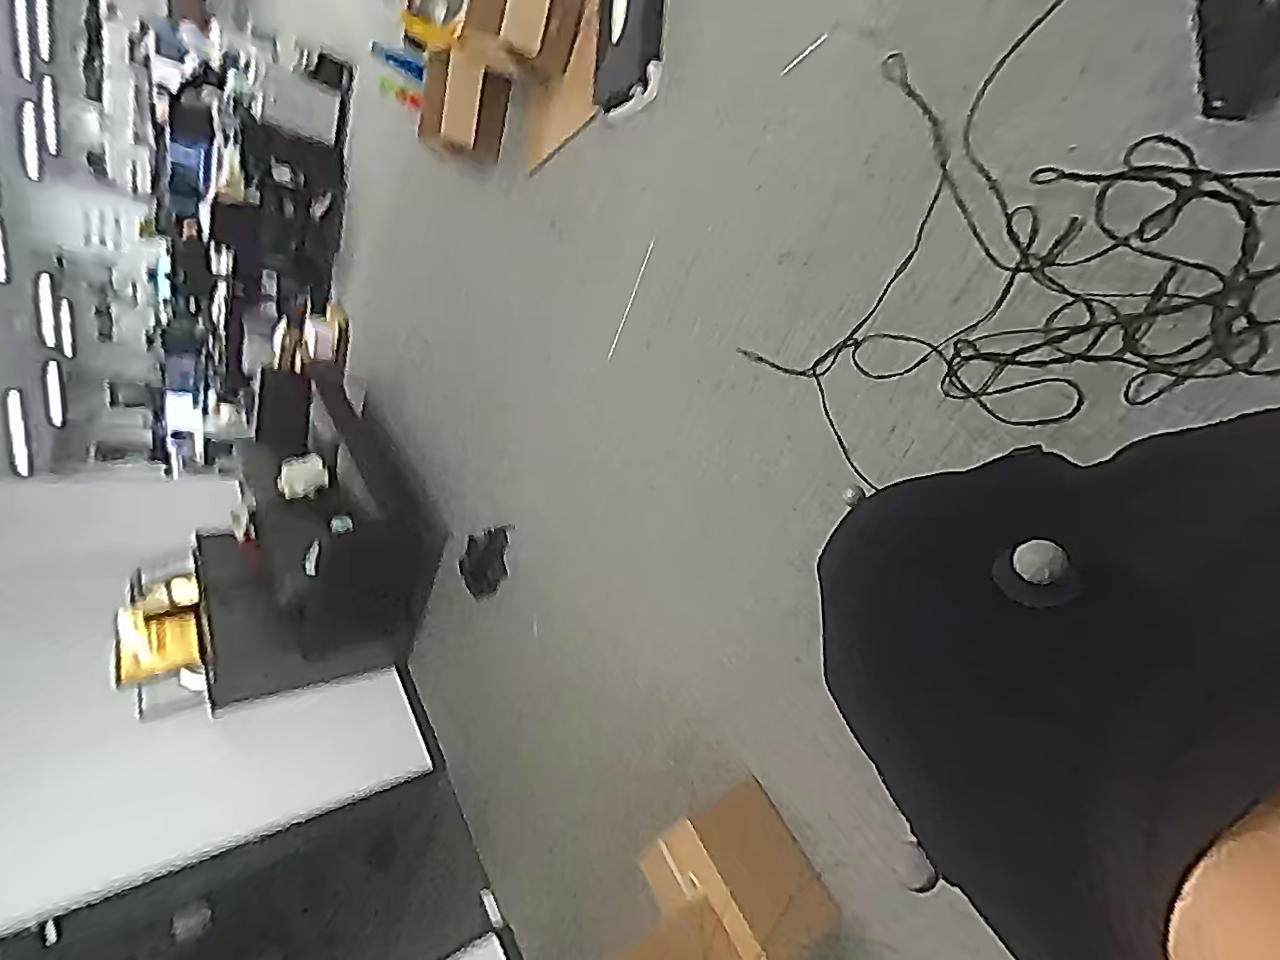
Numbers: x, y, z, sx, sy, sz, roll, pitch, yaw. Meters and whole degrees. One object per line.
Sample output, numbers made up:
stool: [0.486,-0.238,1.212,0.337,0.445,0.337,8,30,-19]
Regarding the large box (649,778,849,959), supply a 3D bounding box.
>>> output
large box: [0.302,1.169,1.552,0.408,0.320,0.320,53,126,35]
